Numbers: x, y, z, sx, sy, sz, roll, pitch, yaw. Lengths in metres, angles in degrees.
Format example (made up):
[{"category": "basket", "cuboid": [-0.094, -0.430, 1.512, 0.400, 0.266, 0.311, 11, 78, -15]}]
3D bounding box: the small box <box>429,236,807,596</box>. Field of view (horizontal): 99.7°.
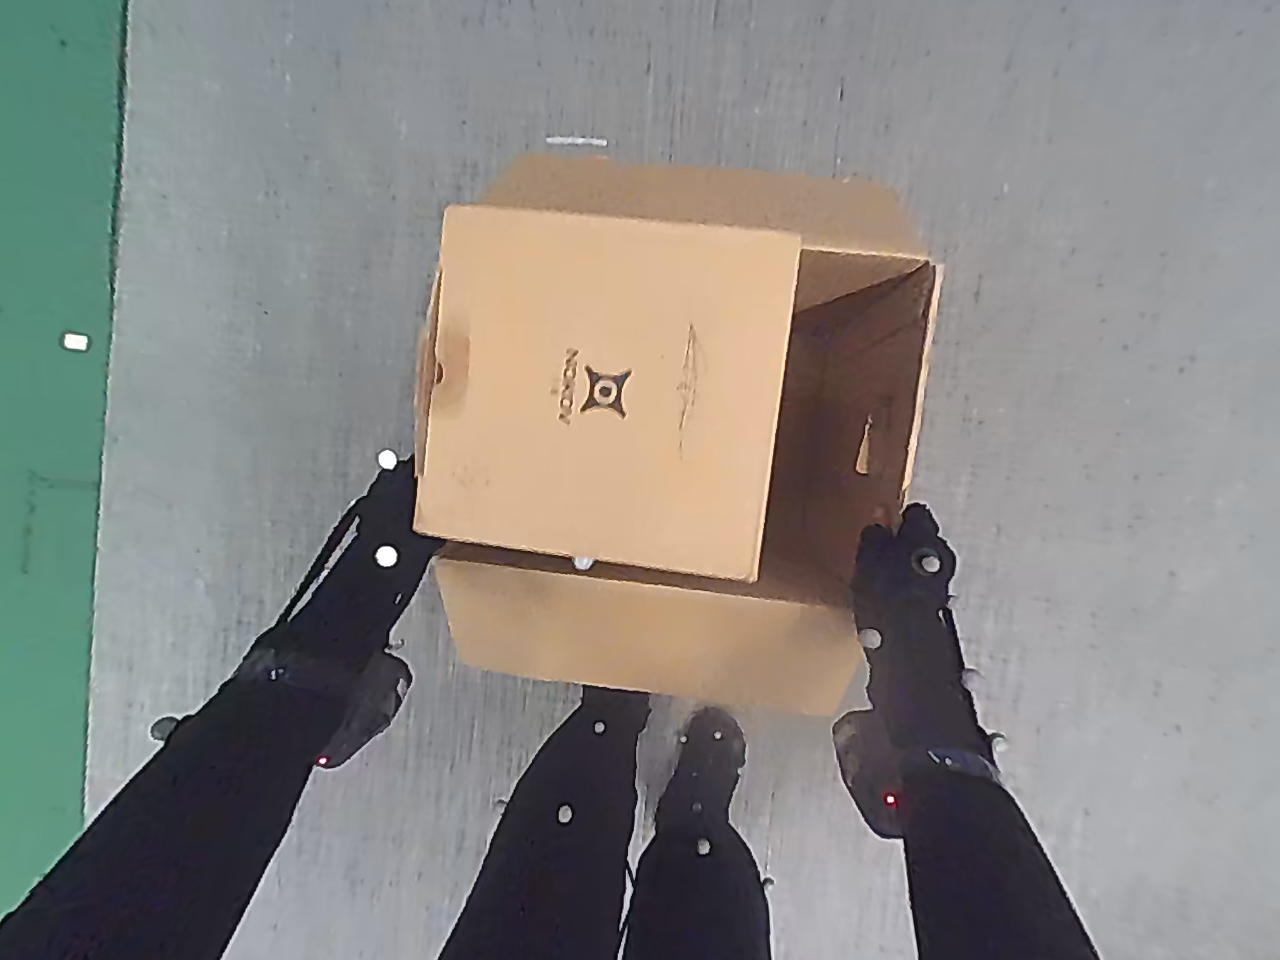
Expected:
[{"category": "small box", "cuboid": [-0.008, -0.037, 0.345, 0.179, 0.176, 0.168, 6, 95, 4]}]
